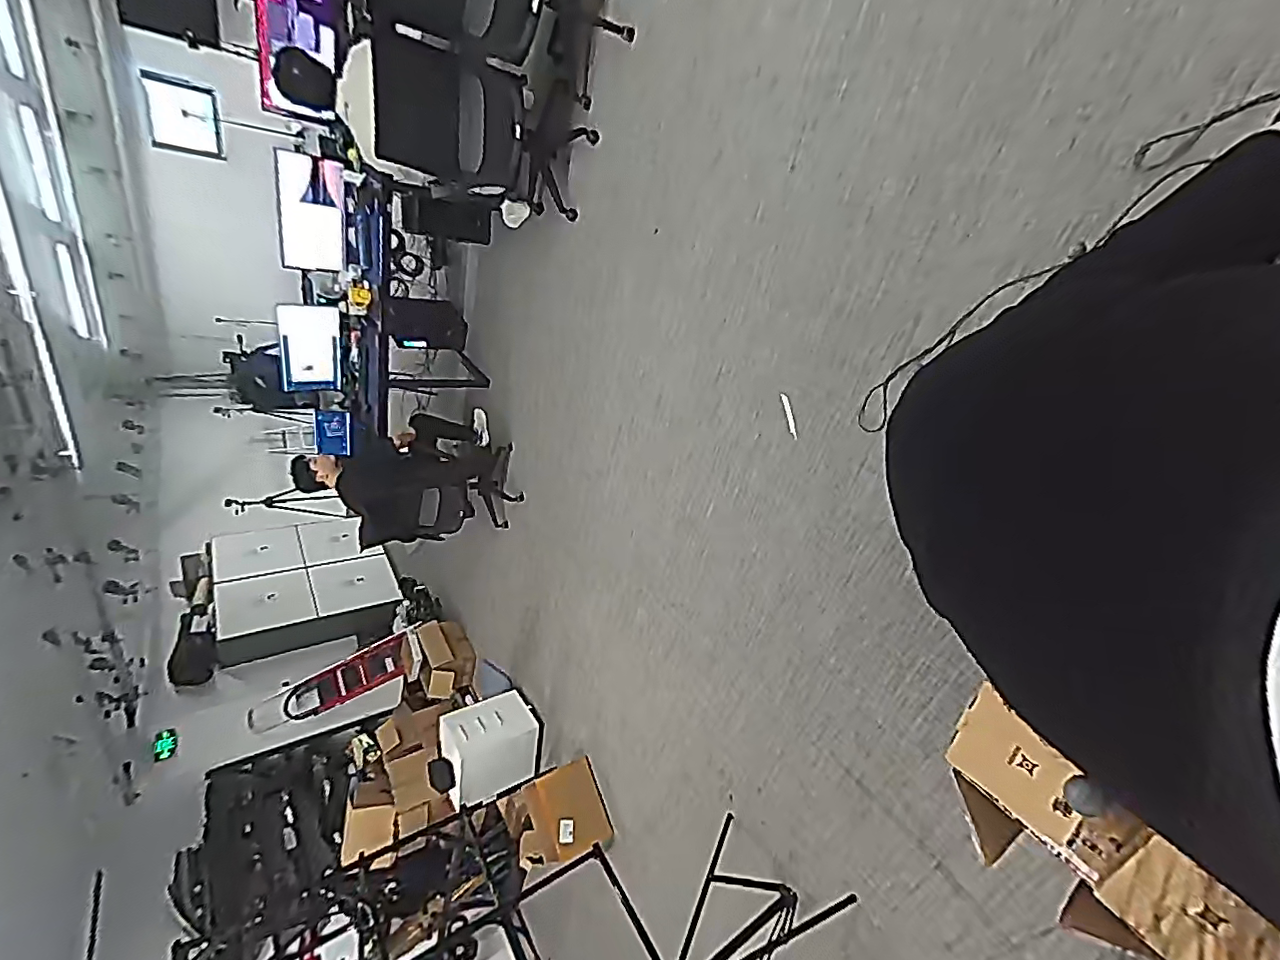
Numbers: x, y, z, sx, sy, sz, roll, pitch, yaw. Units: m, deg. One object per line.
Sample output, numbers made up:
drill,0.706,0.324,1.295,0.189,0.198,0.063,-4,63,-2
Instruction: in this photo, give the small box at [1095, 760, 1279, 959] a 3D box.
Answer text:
small box,0.762,0.518,0.715,0.168,0.176,0.179,37,121,41

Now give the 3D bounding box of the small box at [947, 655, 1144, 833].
small box,0.640,0.400,0.859,0.179,0.176,0.168,35,120,46
